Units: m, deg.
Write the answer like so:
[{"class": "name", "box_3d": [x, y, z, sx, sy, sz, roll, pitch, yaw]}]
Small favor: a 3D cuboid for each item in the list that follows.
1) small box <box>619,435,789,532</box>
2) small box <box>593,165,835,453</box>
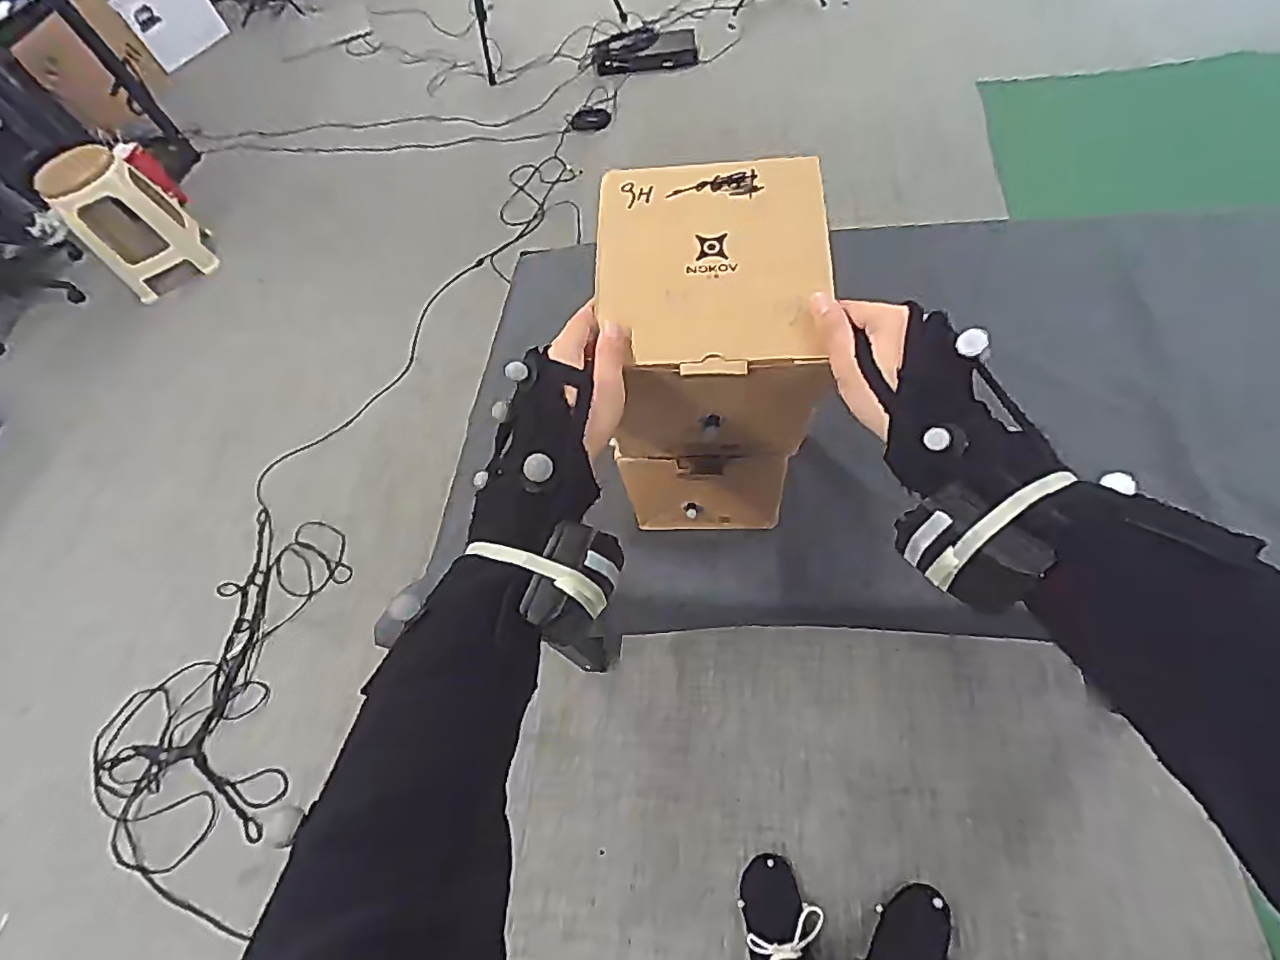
[{"class": "small box", "box_3d": [0.074, -0.054, 0.627, 0.168, 0.176, 0.179, -2, 60, 8]}, {"class": "small box", "box_3d": [0.059, -0.127, 0.463, 0.168, 0.176, 0.179, -1, 71, 6]}]
